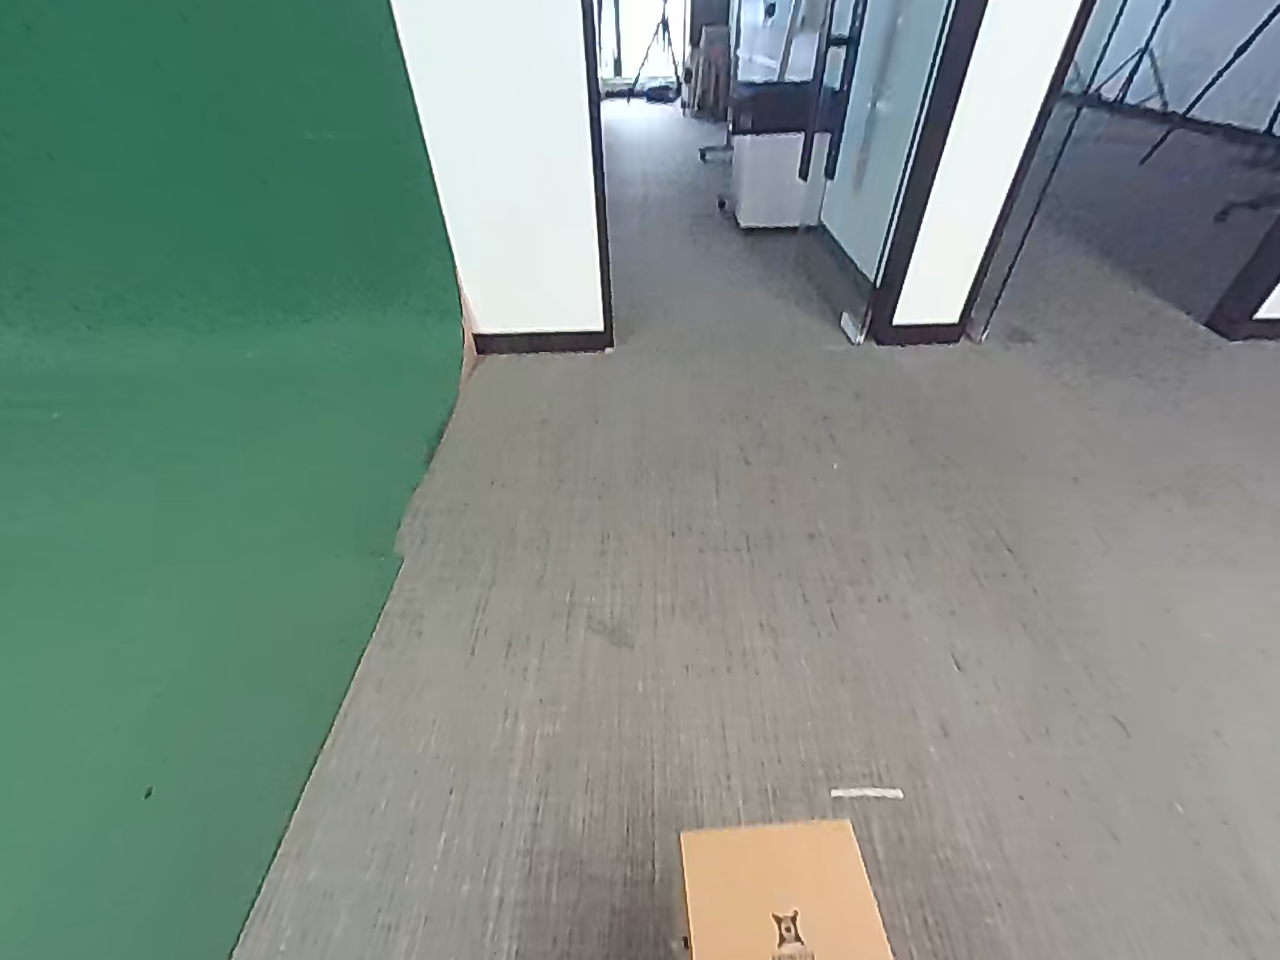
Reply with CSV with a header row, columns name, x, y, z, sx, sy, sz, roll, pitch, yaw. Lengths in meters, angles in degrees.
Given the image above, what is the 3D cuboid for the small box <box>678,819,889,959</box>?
name,x,y,z,sx,sy,sz,roll,pitch,yaw
small box,0.126,0.450,0.511,0.168,0.176,0.179,-4,42,-1
